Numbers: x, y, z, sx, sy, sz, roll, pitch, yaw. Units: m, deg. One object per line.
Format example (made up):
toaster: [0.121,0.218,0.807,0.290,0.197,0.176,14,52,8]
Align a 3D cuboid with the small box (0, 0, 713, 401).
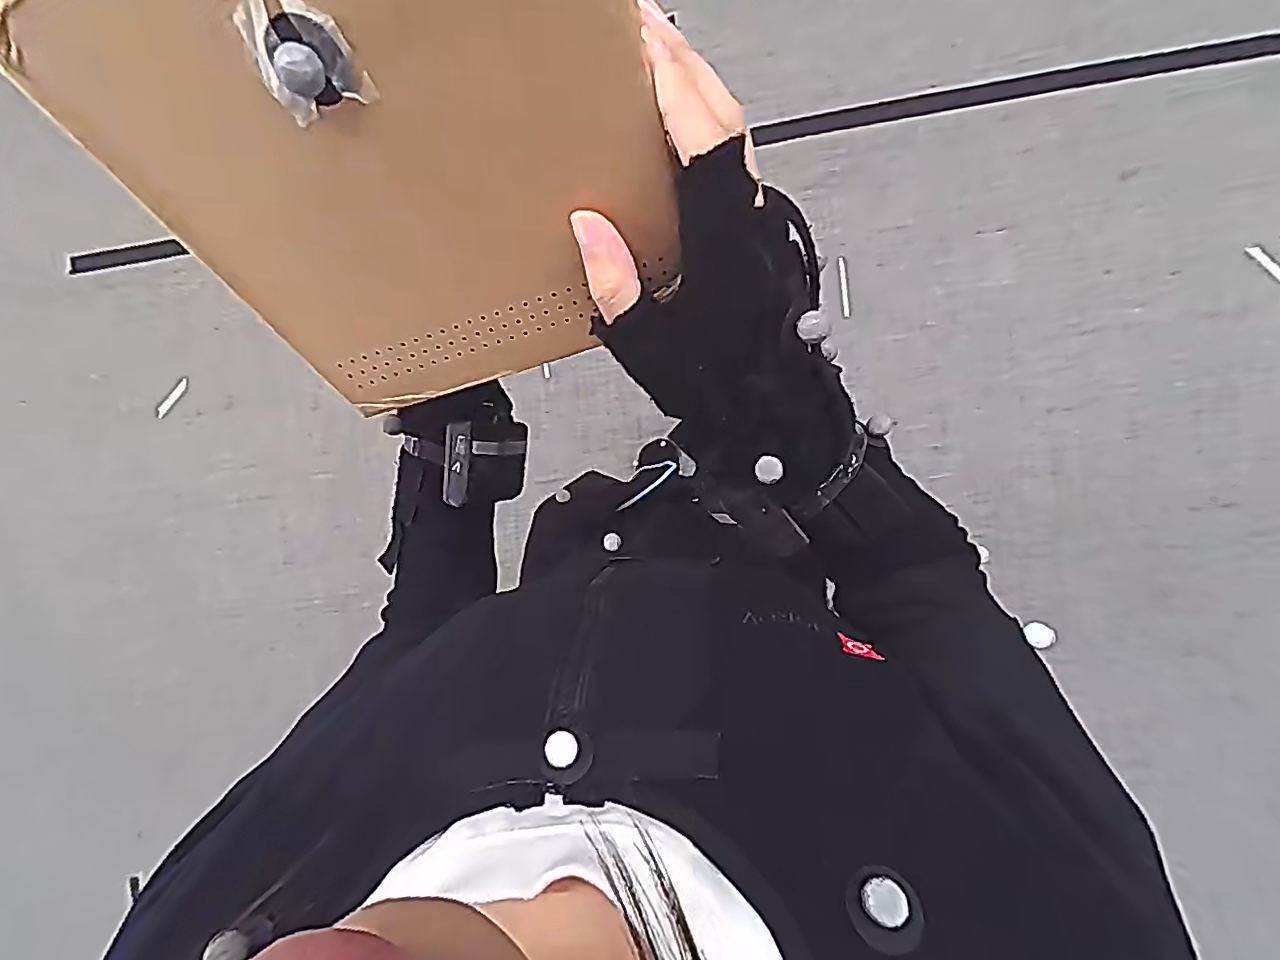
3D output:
small box: [-0.078,-0.159,0.239,0.179,0.176,0.168,-14,52,11]
